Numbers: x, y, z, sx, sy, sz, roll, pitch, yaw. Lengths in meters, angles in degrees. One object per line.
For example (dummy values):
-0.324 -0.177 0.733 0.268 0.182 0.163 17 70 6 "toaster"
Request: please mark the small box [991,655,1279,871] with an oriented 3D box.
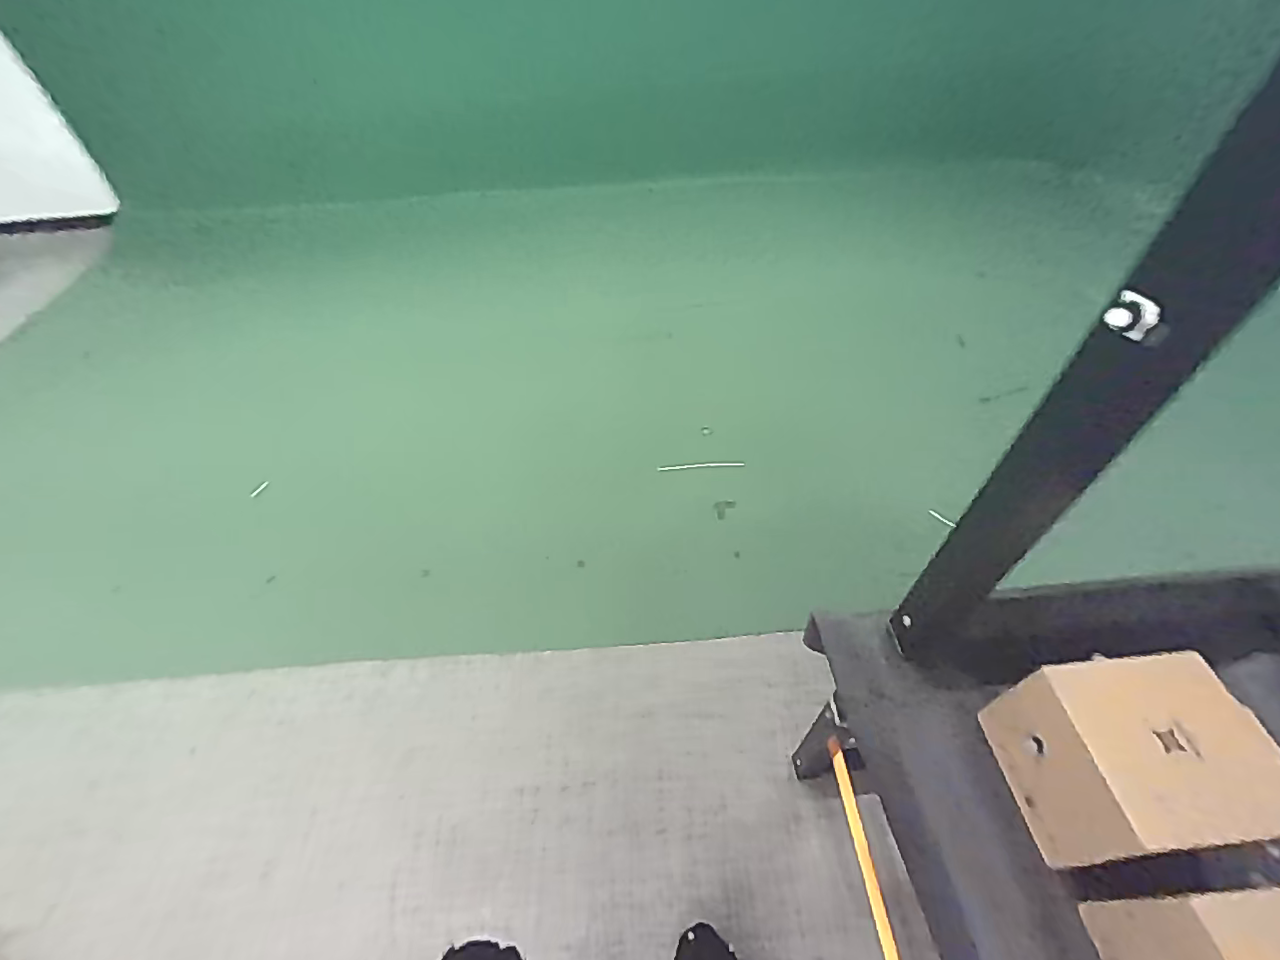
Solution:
0.518 0.306 0.580 0.179 0.176 0.168 -5 50 -2 "small box"
